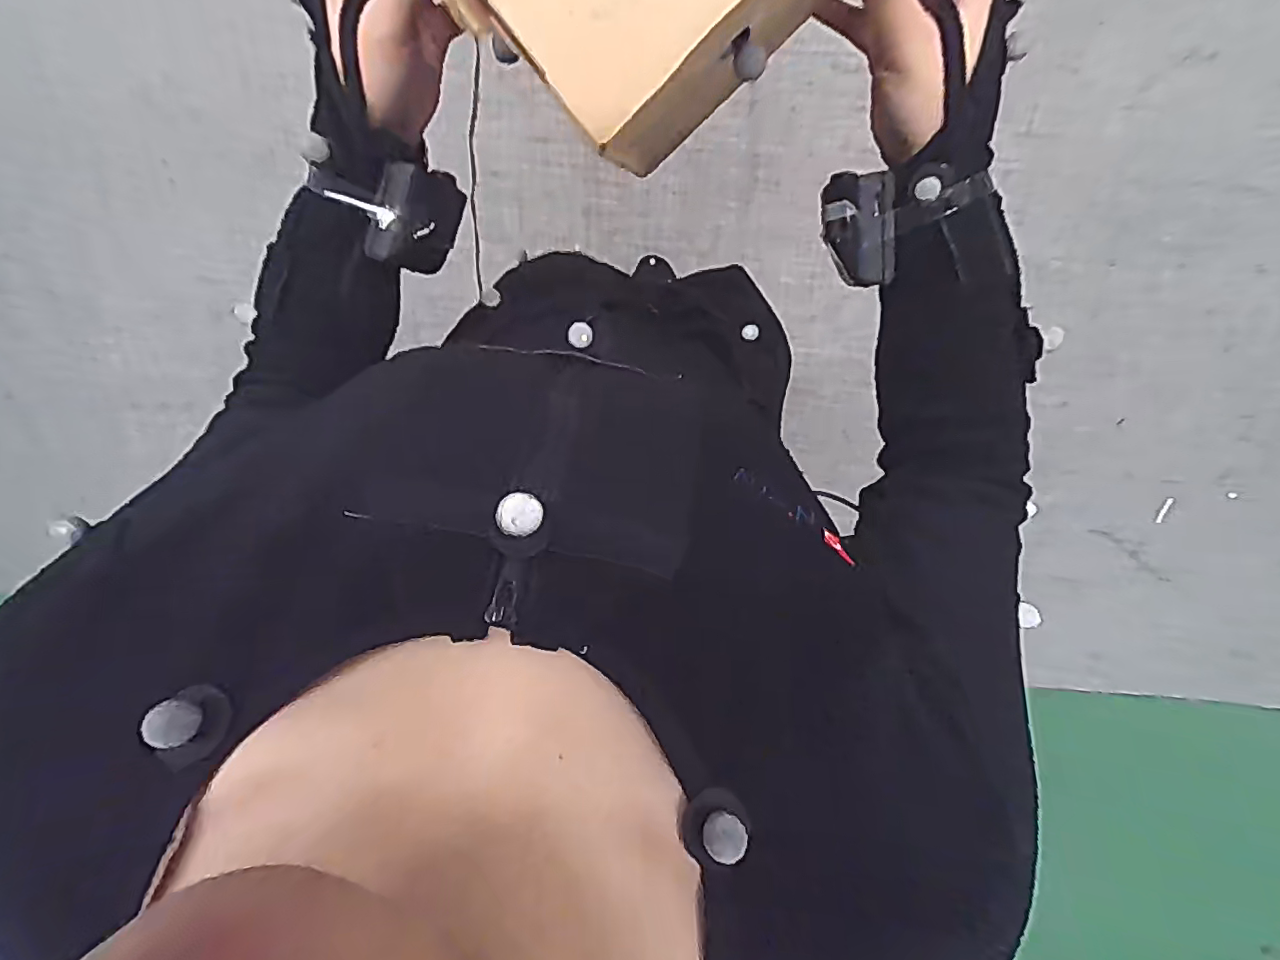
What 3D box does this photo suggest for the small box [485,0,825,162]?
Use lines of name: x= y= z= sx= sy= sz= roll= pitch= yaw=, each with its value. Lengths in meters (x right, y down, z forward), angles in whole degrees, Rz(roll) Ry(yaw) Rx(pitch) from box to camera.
small box: x=0.008 y=-0.273 z=0.237 sx=0.179 sy=0.176 sz=0.168 roll=-36 pitch=107 yaw=22
